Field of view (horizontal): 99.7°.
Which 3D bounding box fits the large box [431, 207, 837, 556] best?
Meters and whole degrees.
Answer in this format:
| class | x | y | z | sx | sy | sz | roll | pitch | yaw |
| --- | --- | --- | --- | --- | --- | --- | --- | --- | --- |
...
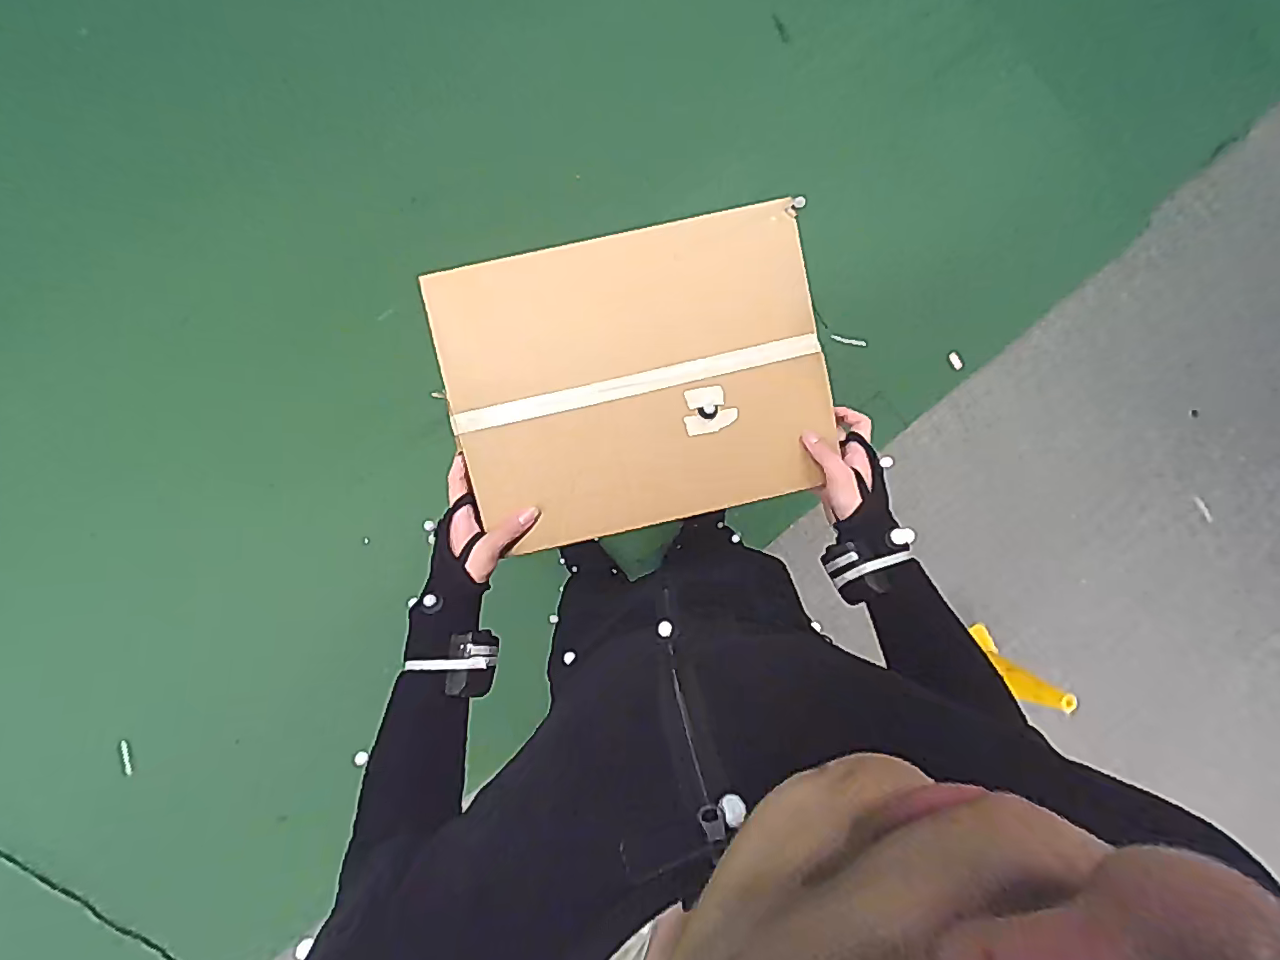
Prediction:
| class | x | y | z | sx | sy | sz | roll | pitch | yaw |
| --- | --- | --- | --- | --- | --- | --- | --- | --- | --- |
| large box | -0.009 | -0.116 | 0.743 | 0.408 | 0.320 | 0.320 | -13 | 96 | -2 |
